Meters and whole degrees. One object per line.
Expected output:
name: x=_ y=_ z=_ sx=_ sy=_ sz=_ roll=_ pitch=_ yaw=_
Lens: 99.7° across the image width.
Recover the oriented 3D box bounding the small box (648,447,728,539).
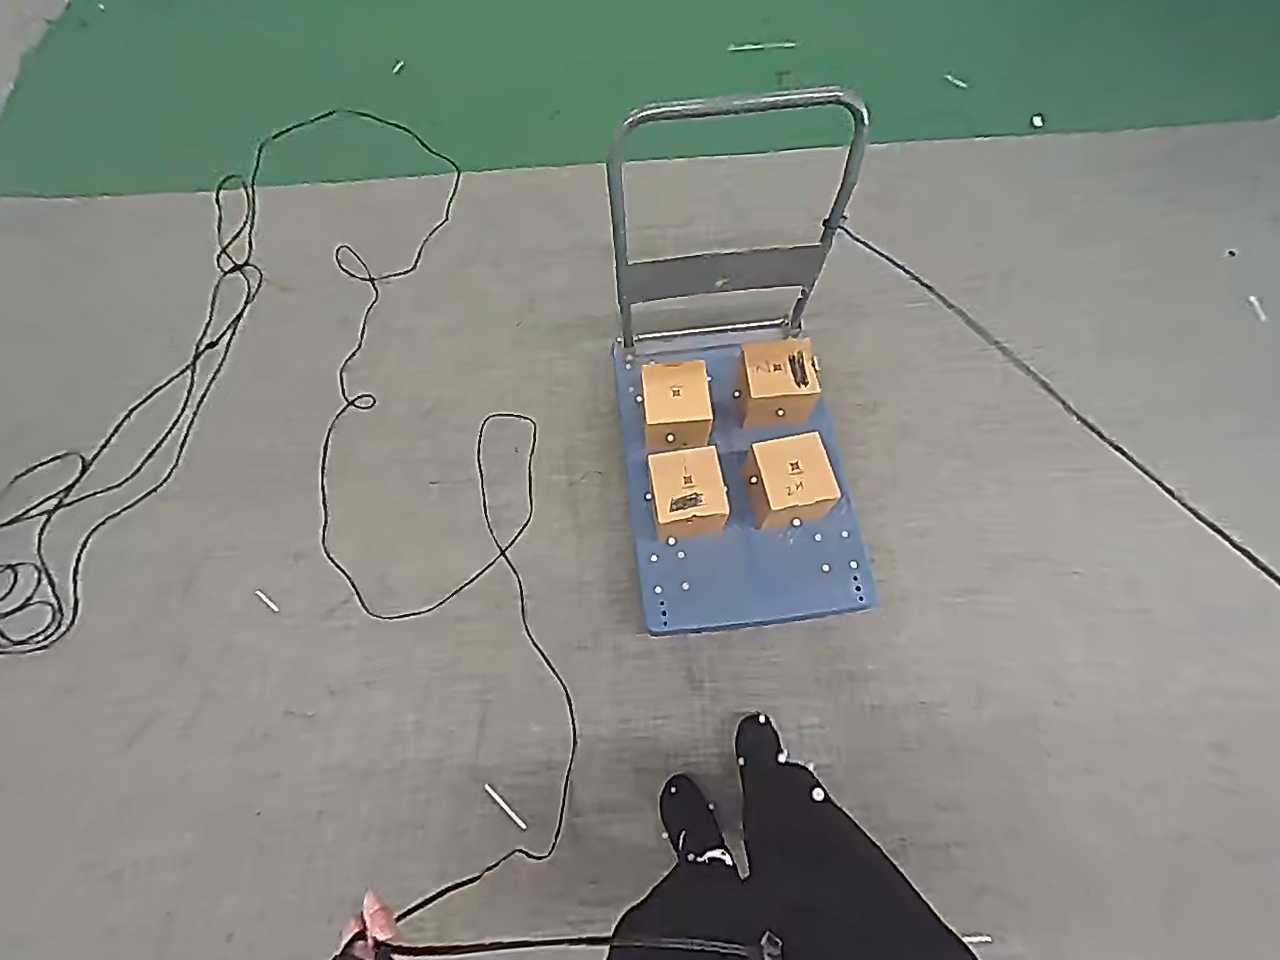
small box: x=0.114 y=0.040 z=1.330 sx=0.168 sy=0.176 sz=0.179 roll=-8 pitch=67 yaw=-2

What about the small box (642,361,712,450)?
small box: x=0.095 y=-0.188 z=1.425 sx=0.168 sy=0.176 sz=0.179 roll=-5 pitch=67 yaw=-1

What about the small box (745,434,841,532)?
small box: x=0.367 y=0.010 z=1.334 sx=0.168 sy=0.176 sz=0.179 roll=-10 pitch=67 yaw=-2
